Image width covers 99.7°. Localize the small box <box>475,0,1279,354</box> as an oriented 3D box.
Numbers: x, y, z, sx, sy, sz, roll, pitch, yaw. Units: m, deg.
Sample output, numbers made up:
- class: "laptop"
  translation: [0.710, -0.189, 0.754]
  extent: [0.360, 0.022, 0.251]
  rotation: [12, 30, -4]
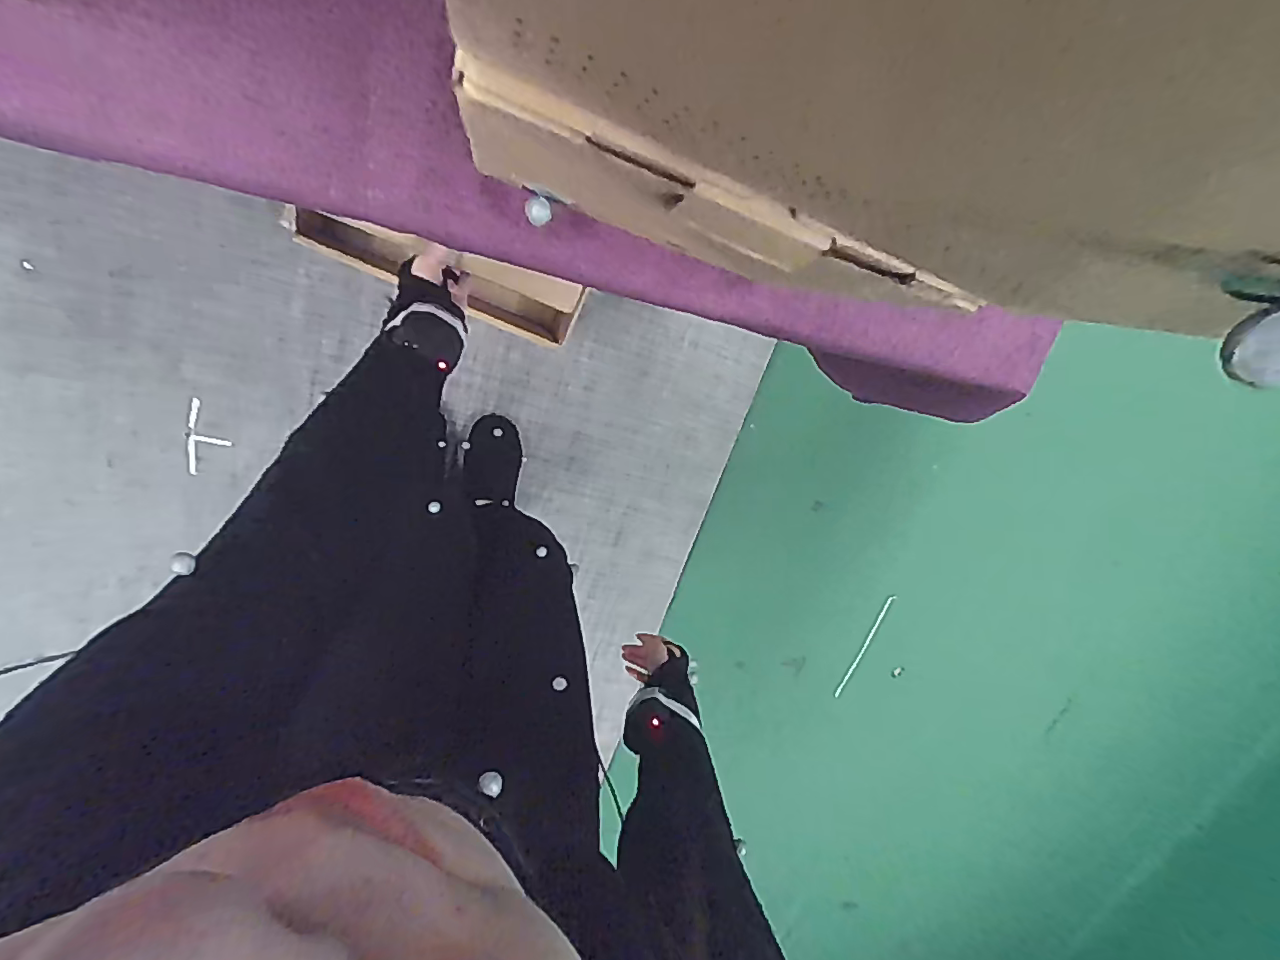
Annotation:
- class: "small box"
  translation: [0.087, -0.113, 0.051]
  extent: [0.179, 0.176, 0.168]
  rotation: [14, 109, -20]
